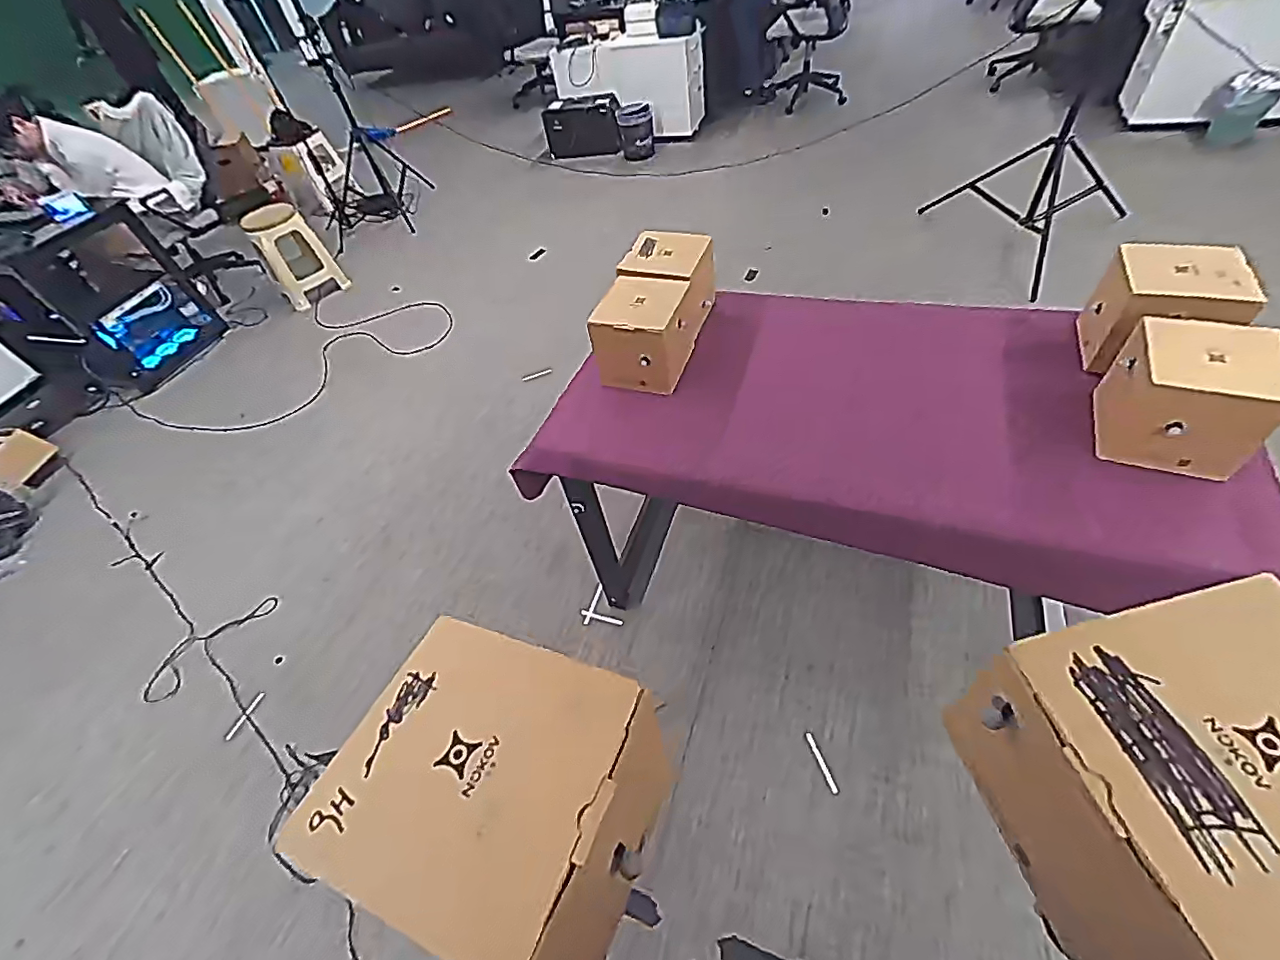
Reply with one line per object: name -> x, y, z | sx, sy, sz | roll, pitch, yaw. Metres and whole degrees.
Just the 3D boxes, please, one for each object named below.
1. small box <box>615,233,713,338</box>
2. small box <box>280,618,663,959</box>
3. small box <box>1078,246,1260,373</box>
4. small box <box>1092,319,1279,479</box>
small box -> 0.064, -0.452, 1.262 | 0.179, 0.176, 0.168 | 14, 56, 19
small box -> -0.092, 0.233, 0.390 | 0.179, 0.176, 0.168 | 12, 47, 21
small box -> 0.927, -0.298, 0.975 | 0.179, 0.176, 0.168 | 12, 55, 19
small box -> 0.851, -0.127, 0.854 | 0.168, 0.176, 0.179 | 15, 54, 22
